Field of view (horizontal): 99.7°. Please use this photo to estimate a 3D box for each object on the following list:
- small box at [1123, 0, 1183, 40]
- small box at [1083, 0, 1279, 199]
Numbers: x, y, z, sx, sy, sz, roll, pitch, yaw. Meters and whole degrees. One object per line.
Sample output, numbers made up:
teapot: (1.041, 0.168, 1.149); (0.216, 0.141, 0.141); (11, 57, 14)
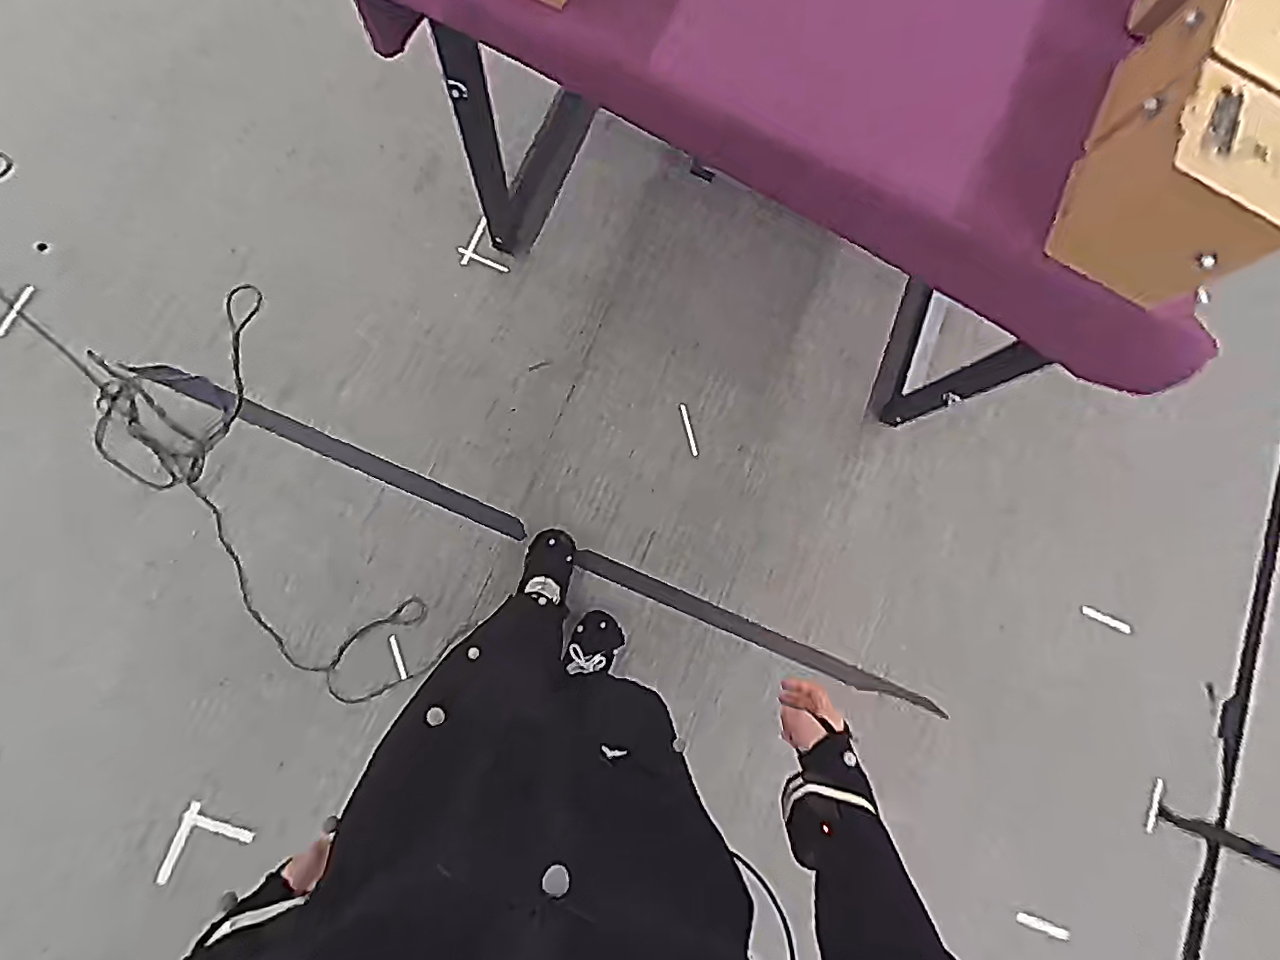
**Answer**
small box: (0.841, -0.729, 0.757); (0.179, 0.176, 0.168); (24, 82, -4)
small box: (0.755, -0.525, 0.728); (0.168, 0.176, 0.179); (28, 80, -2)
